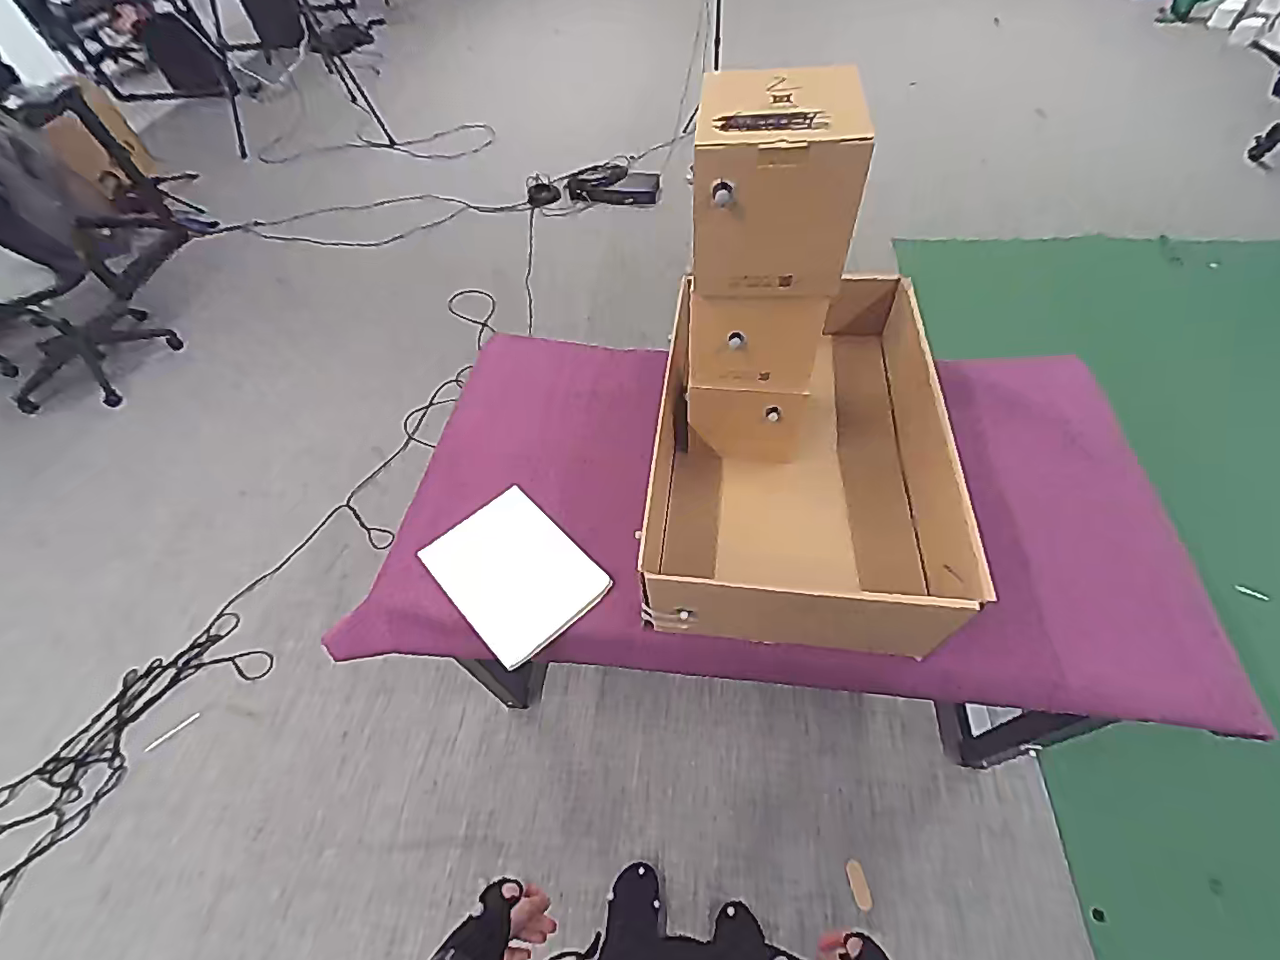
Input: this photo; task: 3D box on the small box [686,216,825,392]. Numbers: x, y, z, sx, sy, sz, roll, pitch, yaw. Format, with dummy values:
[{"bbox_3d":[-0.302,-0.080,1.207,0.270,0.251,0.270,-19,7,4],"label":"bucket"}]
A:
[{"bbox_3d":[0.157,-0.241,0.753,0.168,0.176,0.179,5,55,9],"label":"small box"}]
